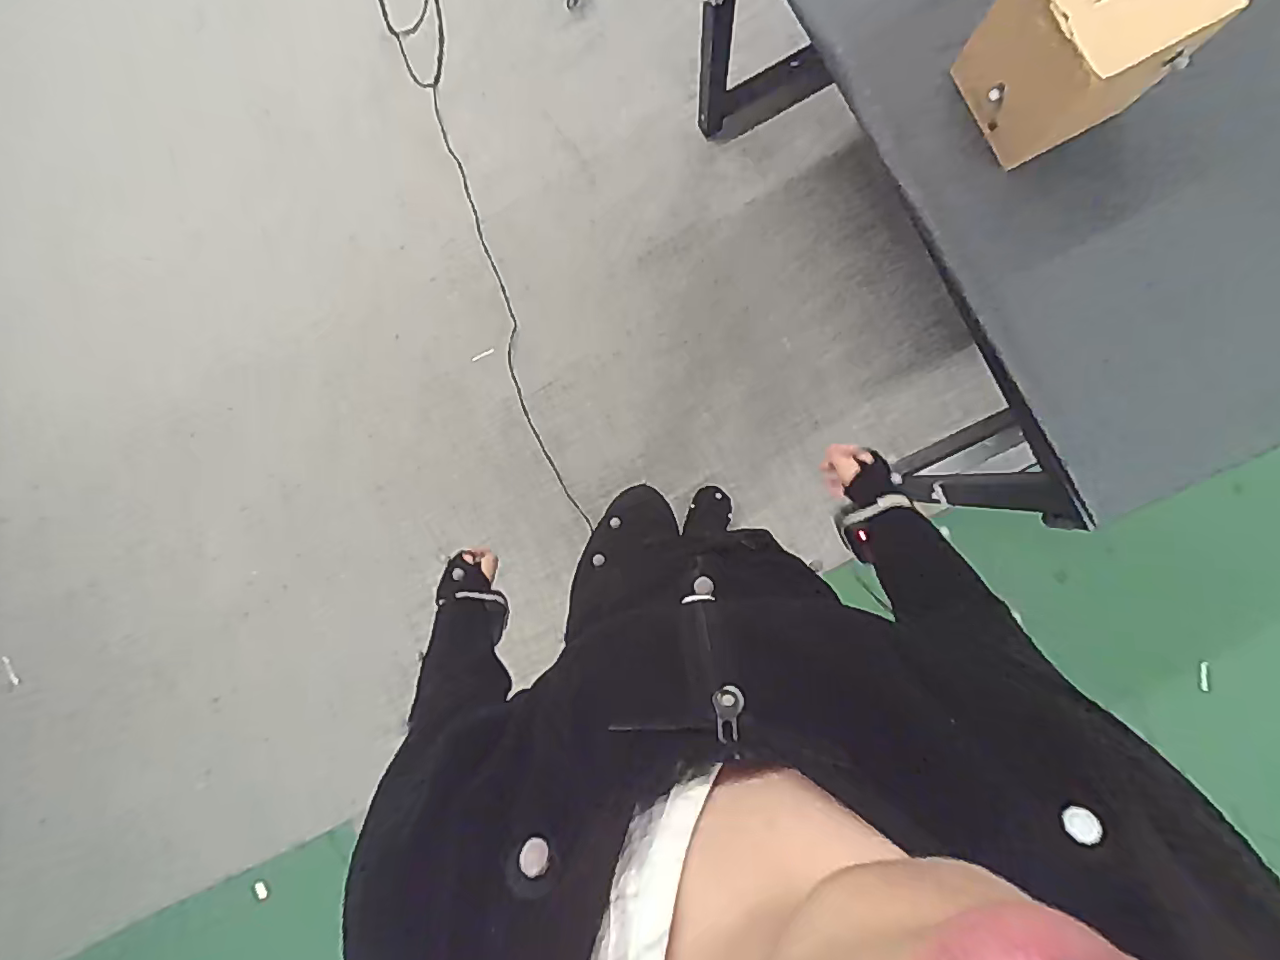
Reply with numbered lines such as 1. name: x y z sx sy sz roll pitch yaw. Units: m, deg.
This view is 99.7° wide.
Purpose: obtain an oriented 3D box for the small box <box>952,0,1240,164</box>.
1. small box: 0.534 -0.540 0.662 0.179 0.176 0.168 -27 88 3

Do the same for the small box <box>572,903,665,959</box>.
1. small box: -0.050 1.163 1.272 0.168 0.176 0.179 -32 89 3
